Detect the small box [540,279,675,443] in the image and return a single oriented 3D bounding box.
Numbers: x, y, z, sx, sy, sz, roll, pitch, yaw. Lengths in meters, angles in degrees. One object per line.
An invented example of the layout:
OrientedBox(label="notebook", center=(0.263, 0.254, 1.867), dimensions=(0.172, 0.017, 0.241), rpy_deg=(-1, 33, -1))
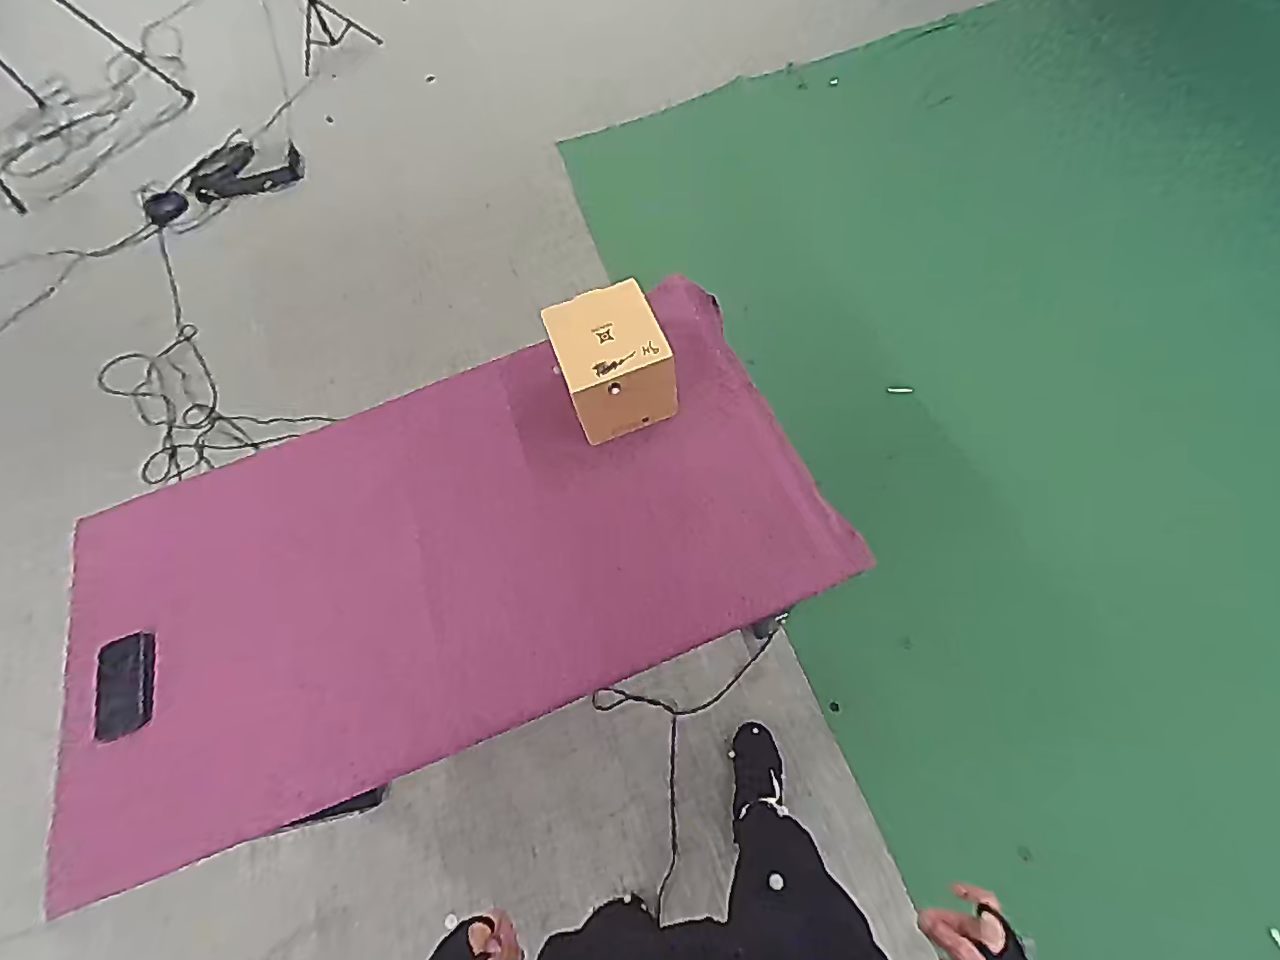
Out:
OrientedBox(label="small box", center=(-0.049, -0.193, 0.907), dimensions=(0.168, 0.176, 0.179), rpy_deg=(-22, 64, -2))
